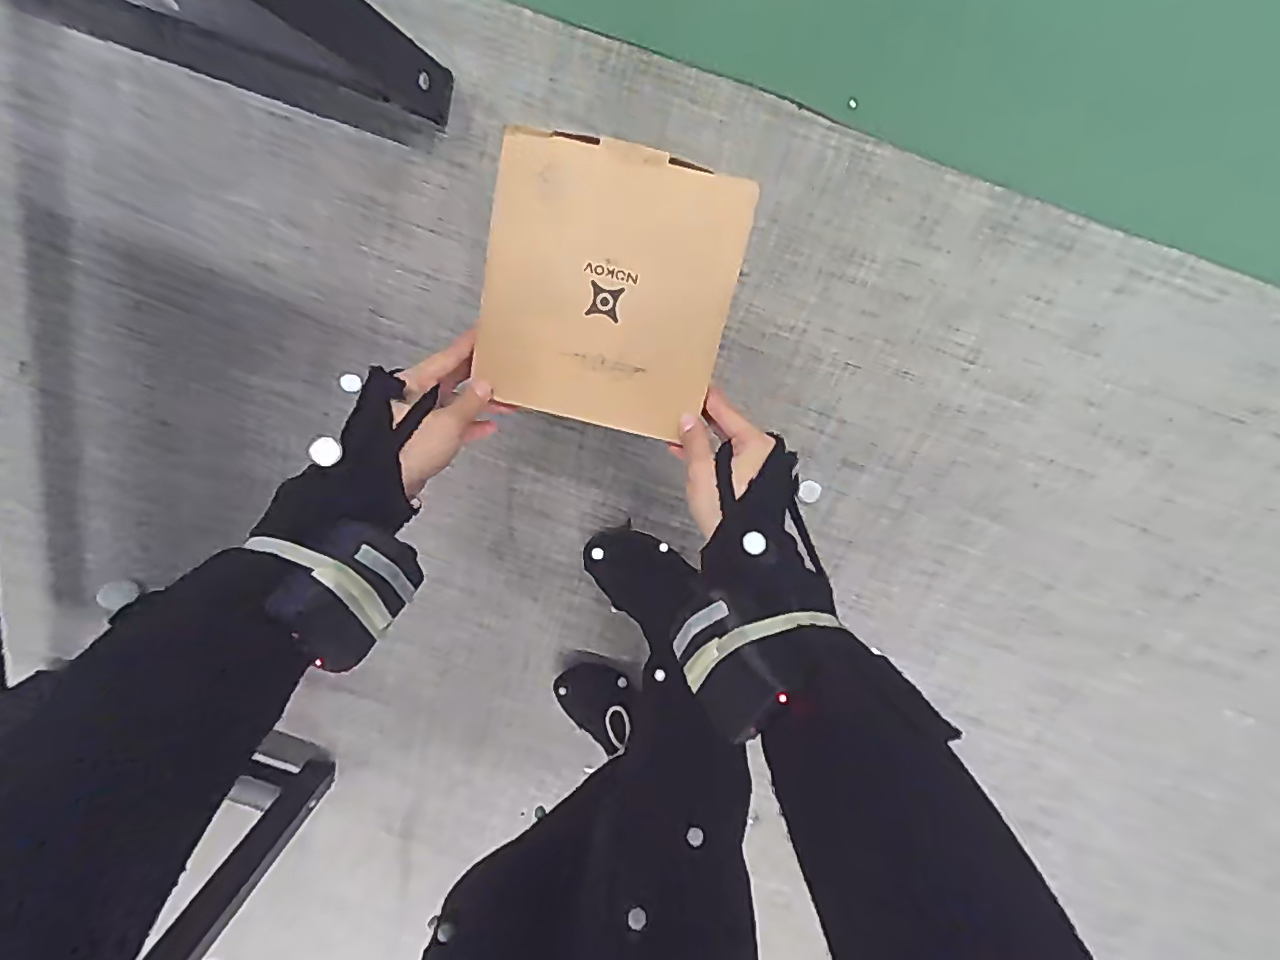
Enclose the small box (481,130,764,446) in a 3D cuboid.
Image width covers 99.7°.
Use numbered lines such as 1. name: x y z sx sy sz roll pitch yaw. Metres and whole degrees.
1. small box: -0.013 -0.145 0.441 0.168 0.176 0.179 12 107 0
